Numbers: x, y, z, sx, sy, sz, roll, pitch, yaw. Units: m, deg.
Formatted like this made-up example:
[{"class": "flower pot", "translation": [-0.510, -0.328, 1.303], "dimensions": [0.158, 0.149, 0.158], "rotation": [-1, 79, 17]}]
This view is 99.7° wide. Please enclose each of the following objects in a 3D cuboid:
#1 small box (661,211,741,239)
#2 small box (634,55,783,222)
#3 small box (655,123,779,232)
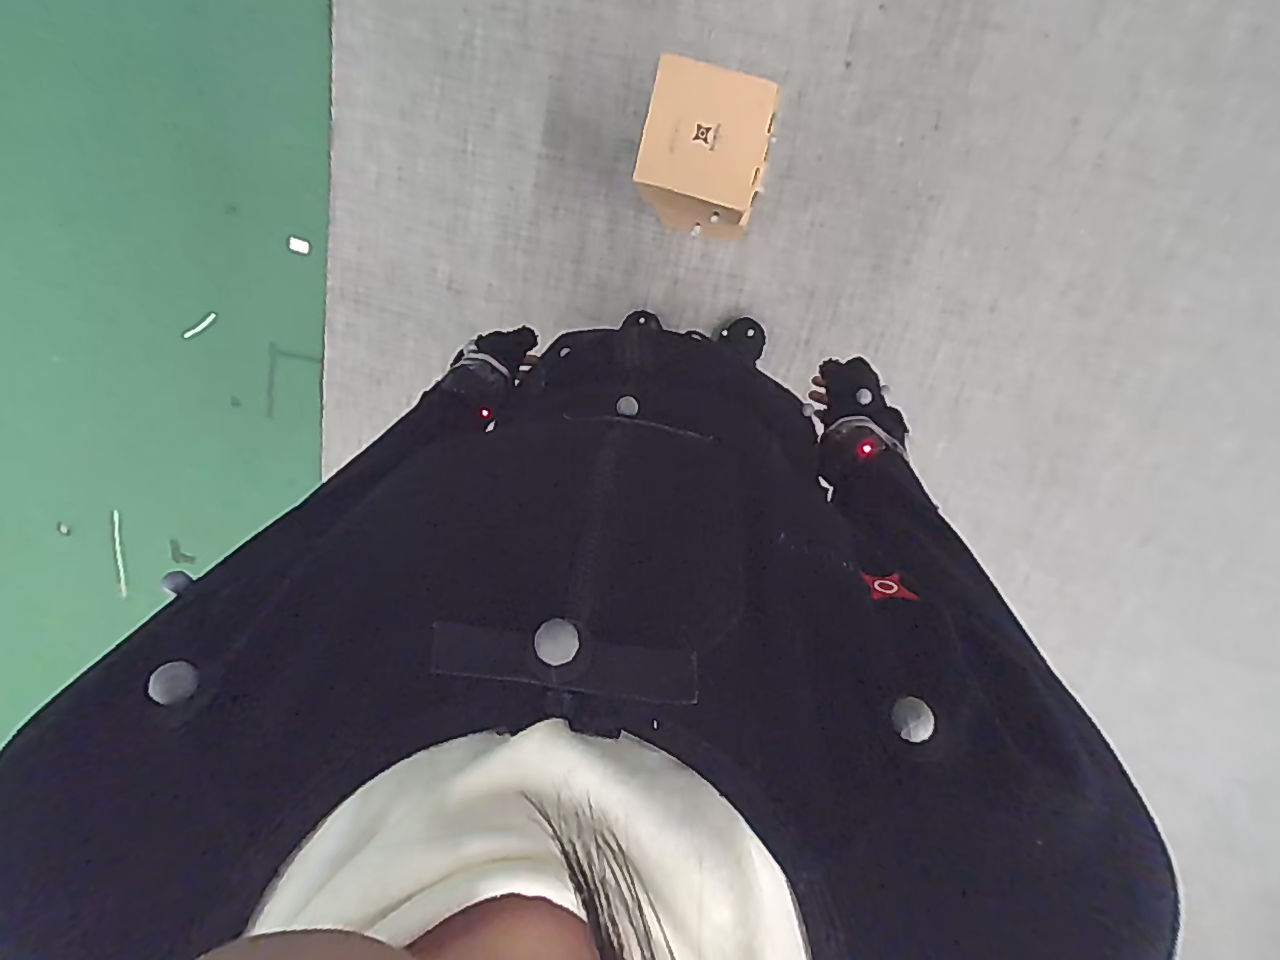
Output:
[{"class": "small box", "translation": [0.153, -0.625, 1.149], "dimensions": [0.179, 0.176, 0.168], "rotation": [18, 108, 0]}, {"class": "small box", "translation": [0.104, -0.518, 0.847], "dimensions": [0.179, 0.176, 0.168], "rotation": [16, 109, 3]}, {"class": "small box", "translation": [0.135, -0.569, 0.999], "dimensions": [0.179, 0.176, 0.168], "rotation": [16, 110, 1]}]
